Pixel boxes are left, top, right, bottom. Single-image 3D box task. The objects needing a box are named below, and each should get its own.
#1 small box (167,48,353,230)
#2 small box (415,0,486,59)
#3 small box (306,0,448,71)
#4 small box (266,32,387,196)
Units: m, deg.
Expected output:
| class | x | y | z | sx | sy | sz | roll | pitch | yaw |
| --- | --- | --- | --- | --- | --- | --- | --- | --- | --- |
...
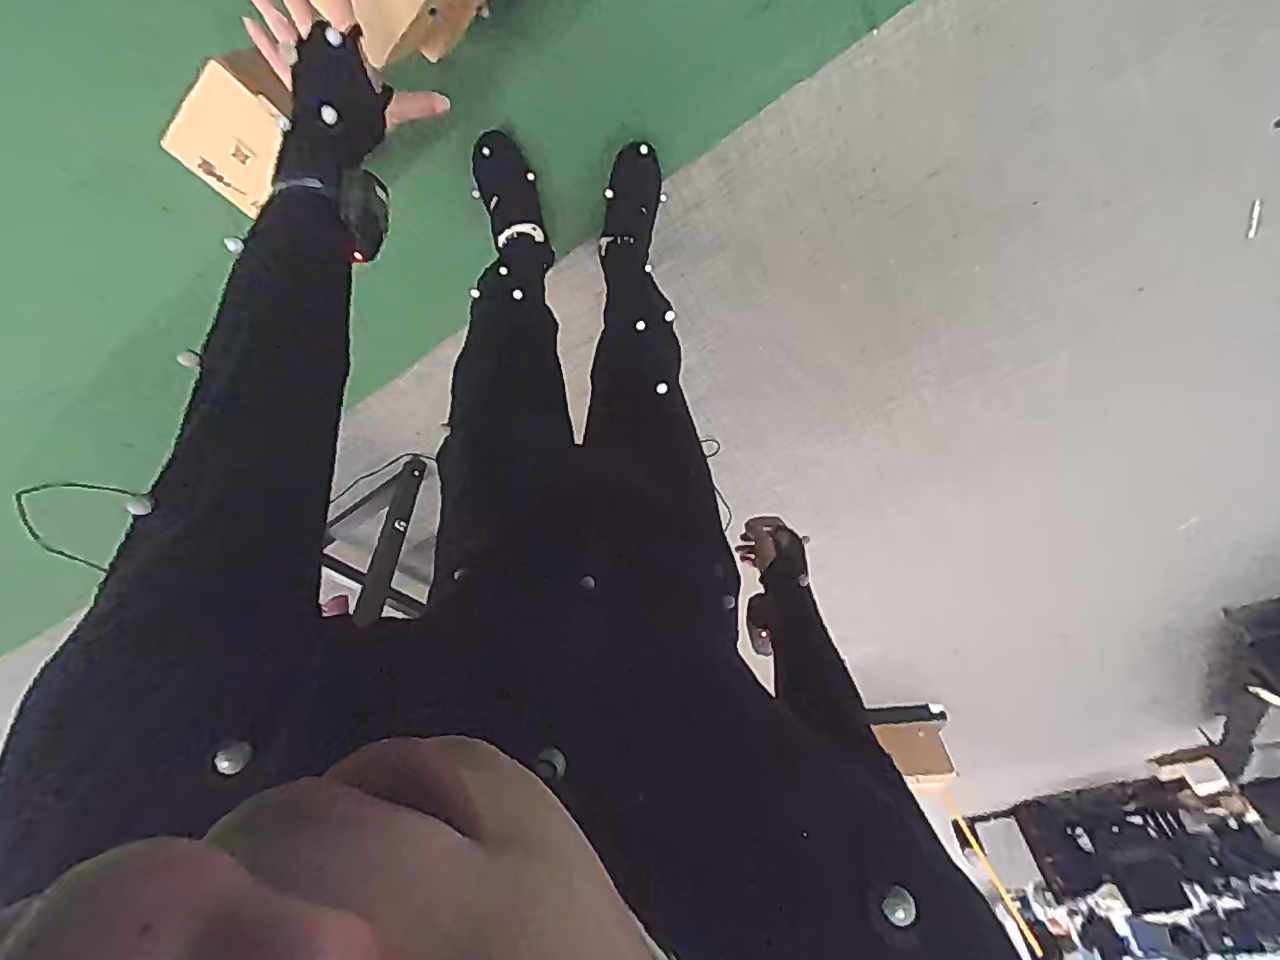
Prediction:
| class | x | y | z | sx | sy | sz | roll | pitch | yaw |
| --- | --- | --- | --- | --- | --- | --- | --- | --- | --- |
| small box | -0.600 | -0.556 | 0.880 | 0.179 | 0.176 | 0.168 | -30 | 129 | 24 |
| small box | -0.293 | -0.724 | 0.728 | 0.168 | 0.176 | 0.179 | -34 | 128 | 28 |
| small box | -0.298 | -0.615 | 0.603 | 0.179 | 0.176 | 0.168 | -32 | 129 | 26 |
| small box | -0.602 | -0.674 | 0.995 | 0.168 | 0.176 | 0.179 | -28 | 130 | 23 |
